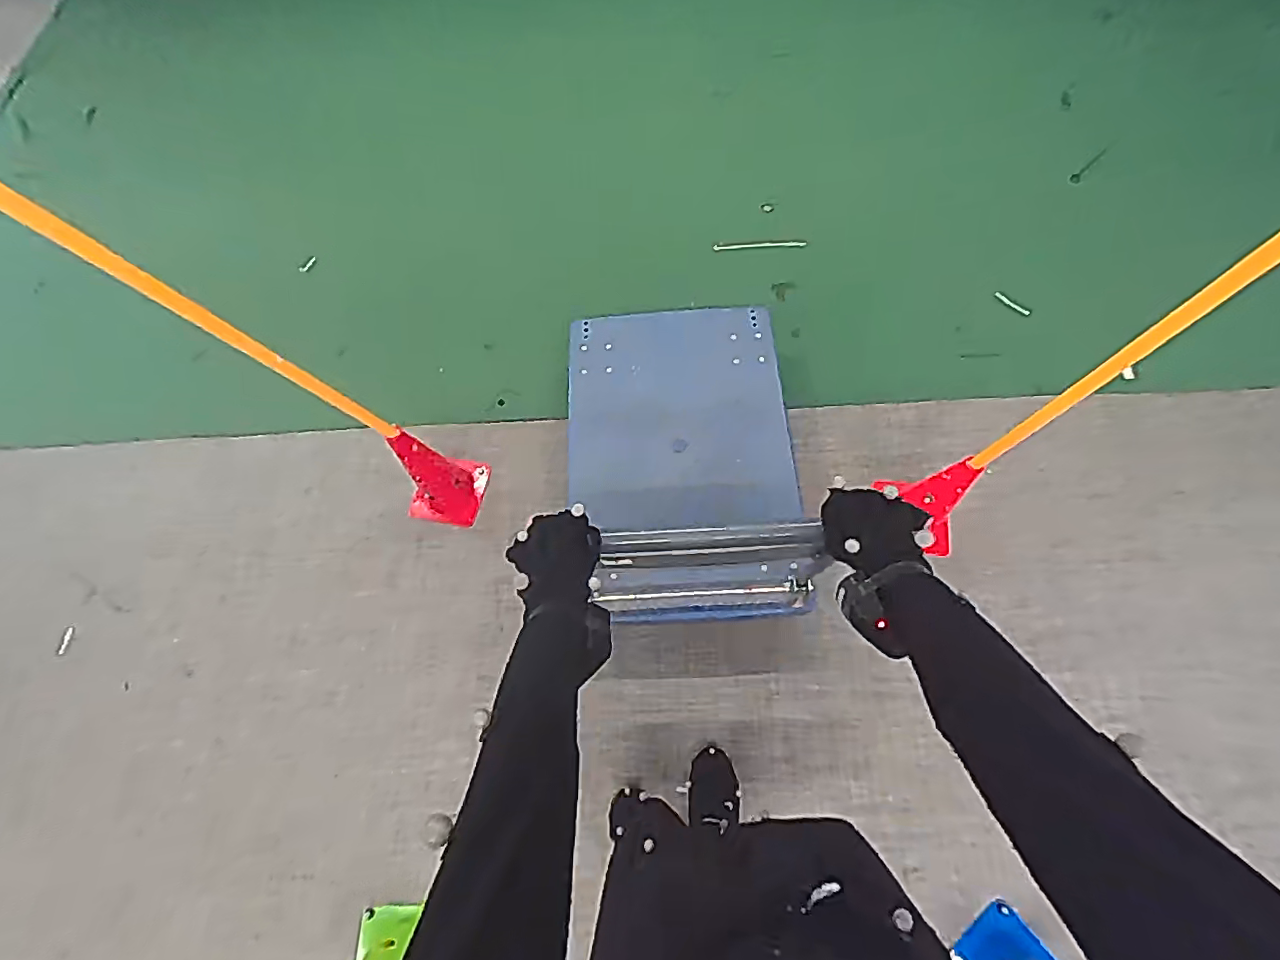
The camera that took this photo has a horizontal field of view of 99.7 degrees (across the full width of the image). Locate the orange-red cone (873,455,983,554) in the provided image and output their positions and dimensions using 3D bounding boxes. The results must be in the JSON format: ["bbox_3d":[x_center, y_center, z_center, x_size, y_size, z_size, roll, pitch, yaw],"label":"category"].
[{"bbox_3d":[0.719,0.031,1.300,0.198,0.360,0.199,8,69,8],"label":"orange-red cone"}]
